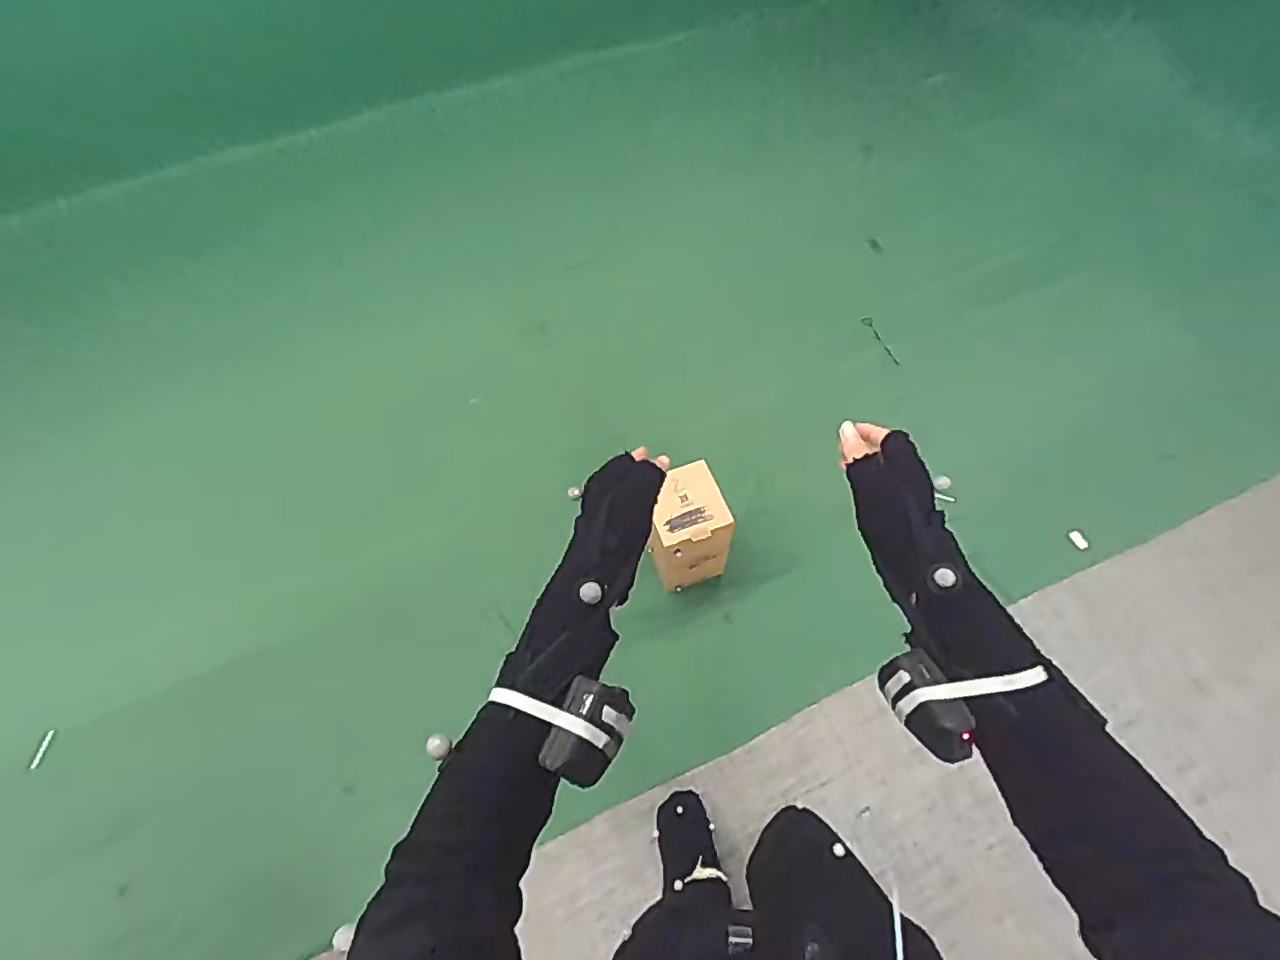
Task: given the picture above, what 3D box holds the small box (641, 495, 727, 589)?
[{"bbox_3d":[0.112,0.170,1.412,0.168,0.176,0.179,-21,65,-8],"label":"small box"}]
